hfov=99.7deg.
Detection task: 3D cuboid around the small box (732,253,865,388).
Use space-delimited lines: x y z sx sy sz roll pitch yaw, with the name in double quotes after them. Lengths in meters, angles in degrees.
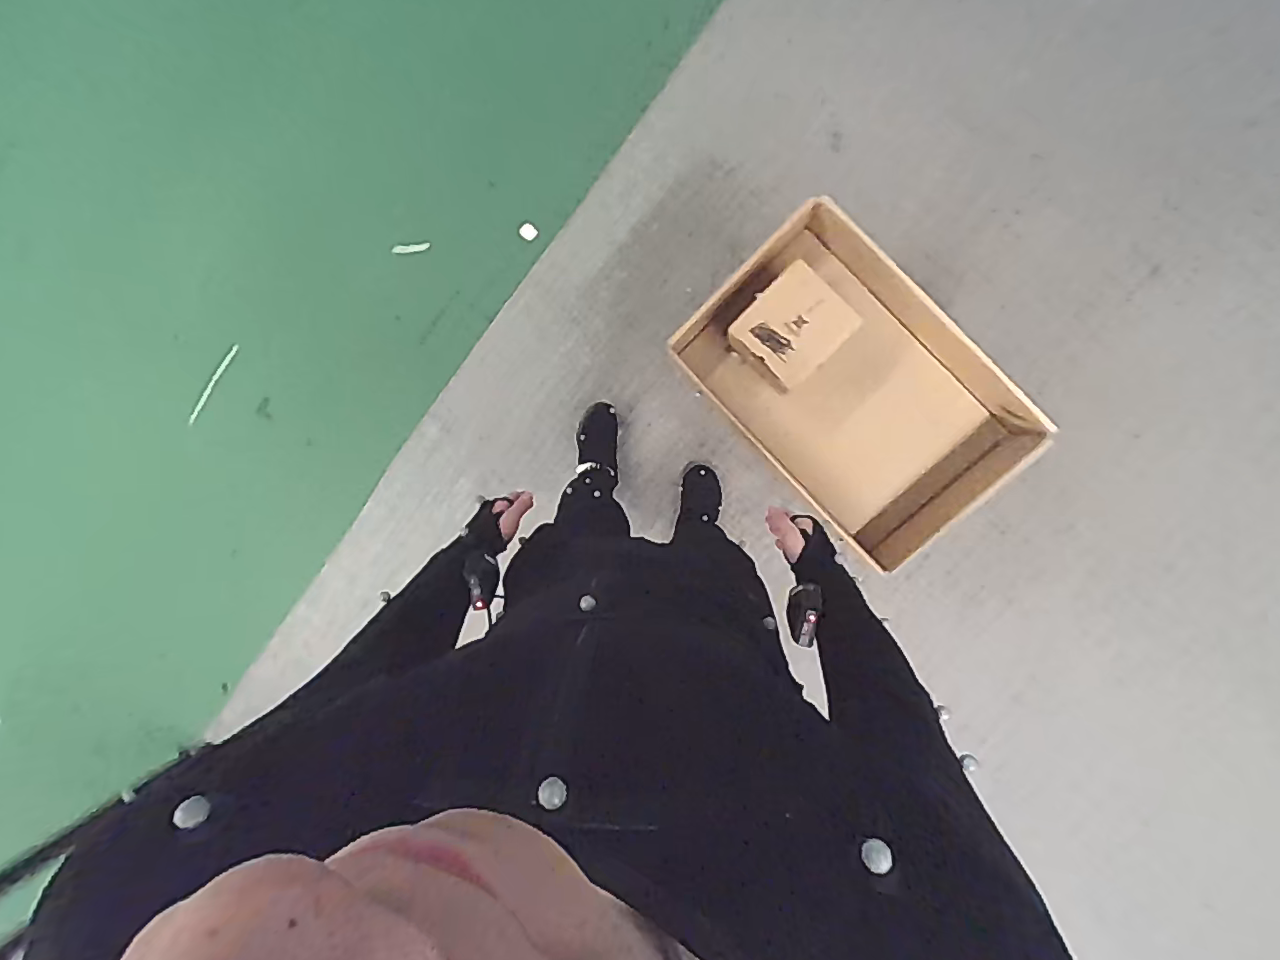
0.297 -0.295 1.047 0.179 0.176 0.168 -44 88 10 "small box"
